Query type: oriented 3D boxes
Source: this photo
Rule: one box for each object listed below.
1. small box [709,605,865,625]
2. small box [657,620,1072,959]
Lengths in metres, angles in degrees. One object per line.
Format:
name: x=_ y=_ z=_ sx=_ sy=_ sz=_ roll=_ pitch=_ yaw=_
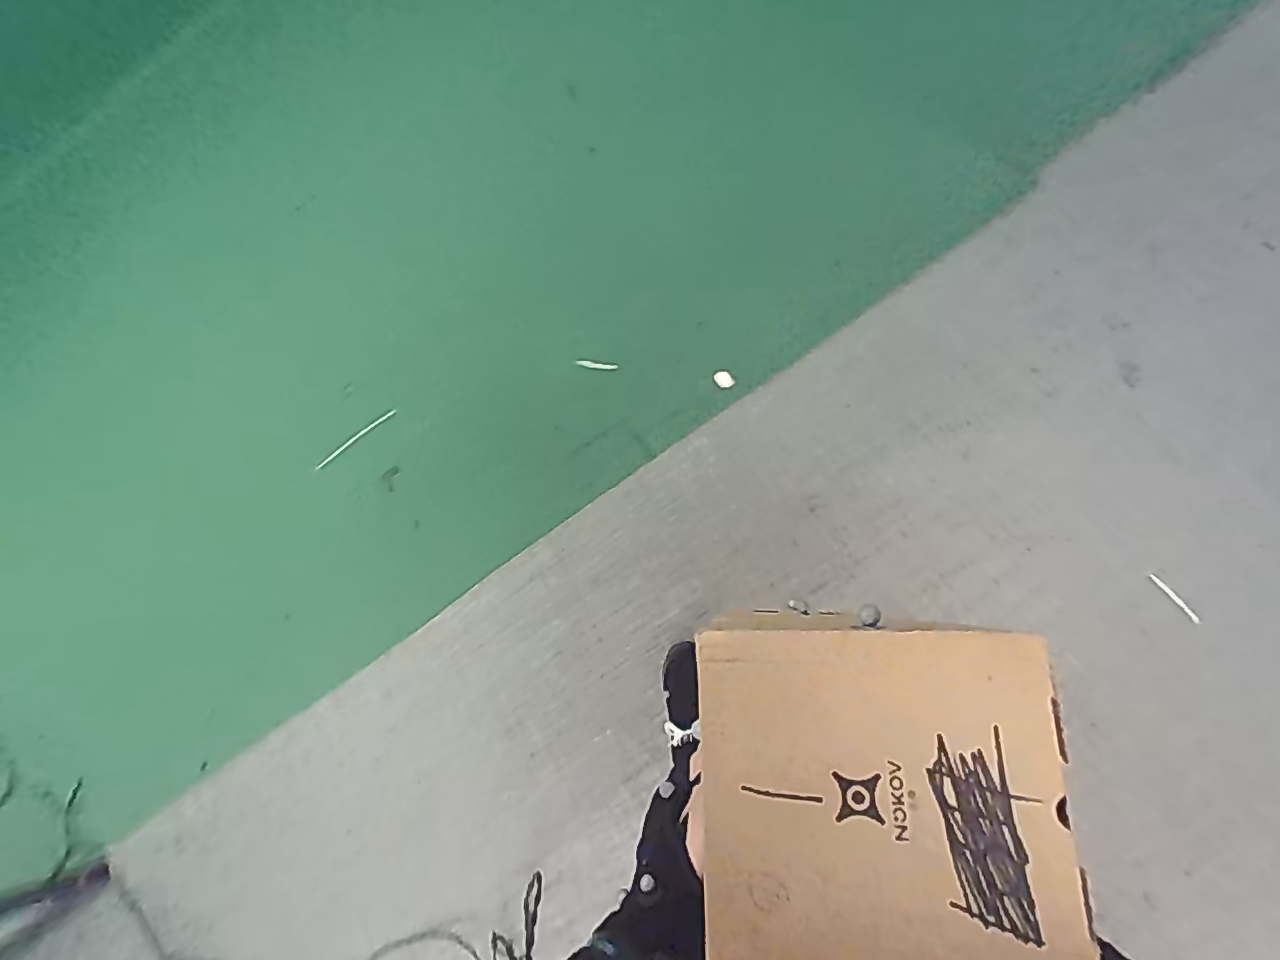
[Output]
small box: x=0.168 y=0.243 z=0.640 sx=0.168 sy=0.176 sz=0.179 roll=1 pitch=77 yaw=11
small box: x=0.110 y=0.173 z=0.324 sx=0.179 sy=0.176 sz=0.168 roll=-2 pitch=77 yaw=12
